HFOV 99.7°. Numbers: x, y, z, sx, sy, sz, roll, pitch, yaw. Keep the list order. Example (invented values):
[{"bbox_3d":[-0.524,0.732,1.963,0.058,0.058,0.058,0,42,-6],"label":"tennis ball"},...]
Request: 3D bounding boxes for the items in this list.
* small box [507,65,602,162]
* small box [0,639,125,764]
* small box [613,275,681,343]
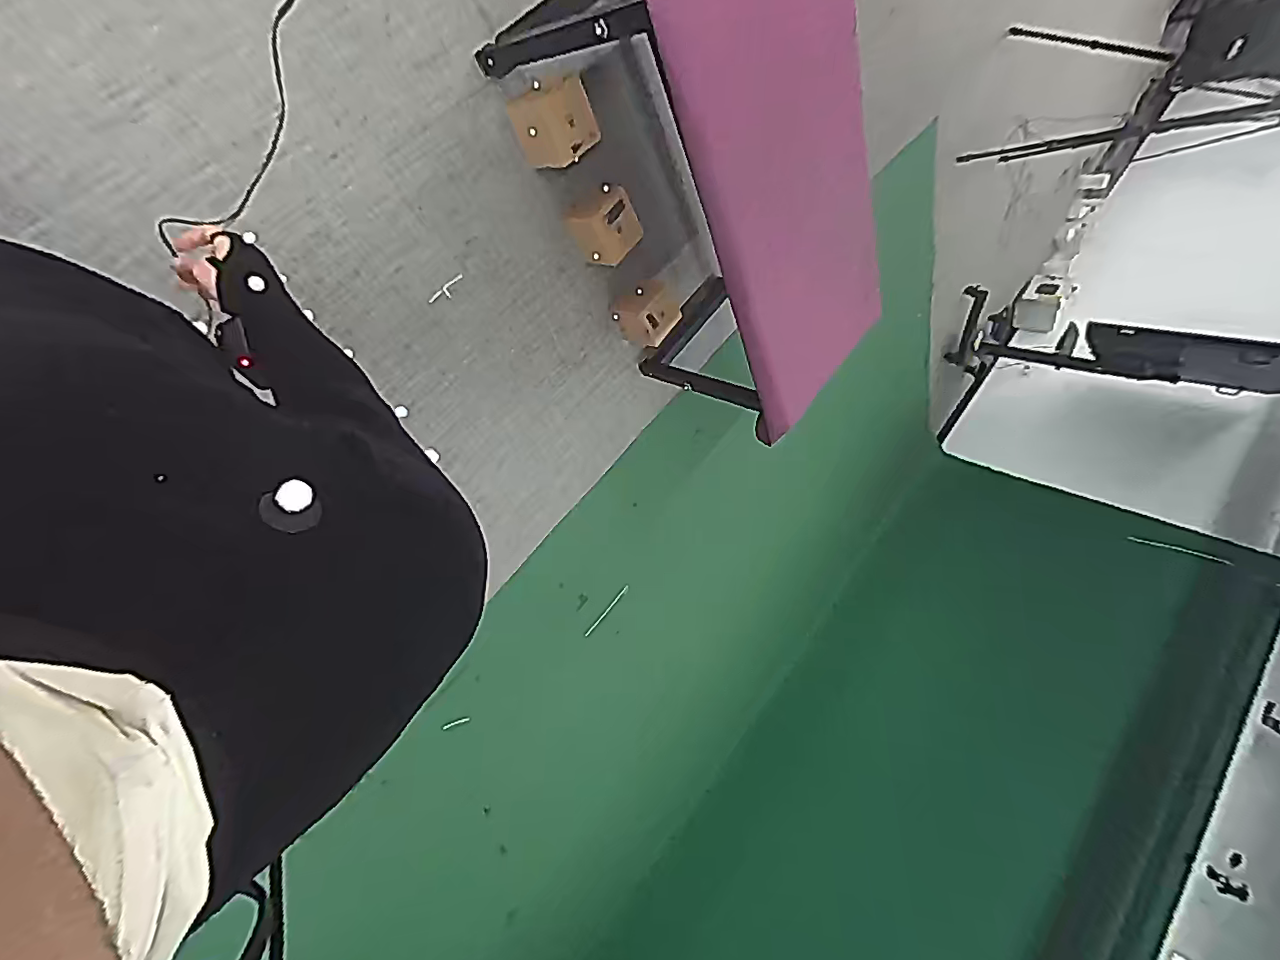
[{"bbox_3d":[-0.248,-1.037,1.545,0.168,0.176,0.179,-48,137,-18],"label":"small box"},{"bbox_3d":[-1.331,0.499,1.227,0.179,0.176,0.168,-49,139,-16],"label":"small box"},{"bbox_3d":[0.020,-0.649,2.045,0.179,0.176,0.168,-52,140,-14],"label":"small box"}]
